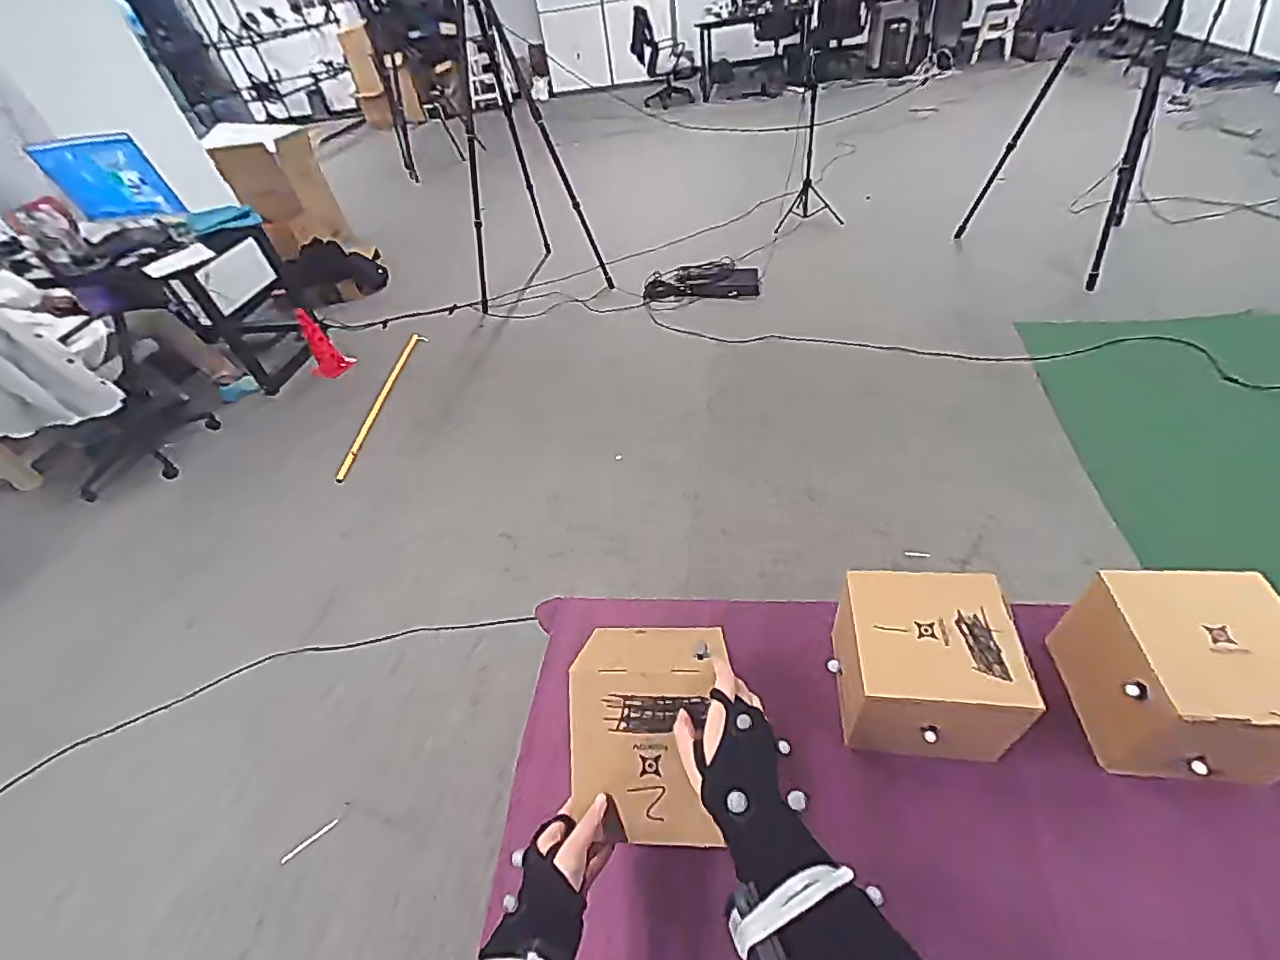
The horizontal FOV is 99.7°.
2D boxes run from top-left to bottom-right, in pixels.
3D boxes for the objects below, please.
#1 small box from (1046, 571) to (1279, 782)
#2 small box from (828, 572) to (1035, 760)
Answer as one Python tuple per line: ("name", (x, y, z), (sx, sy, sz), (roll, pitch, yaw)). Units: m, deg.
("small box", (0.620, 0.226, 0.629), (0.168, 0.176, 0.179), (-1, 46, 10))
("small box", (0.341, 0.233, 0.676), (0.179, 0.176, 0.168), (-1, 45, 12))
